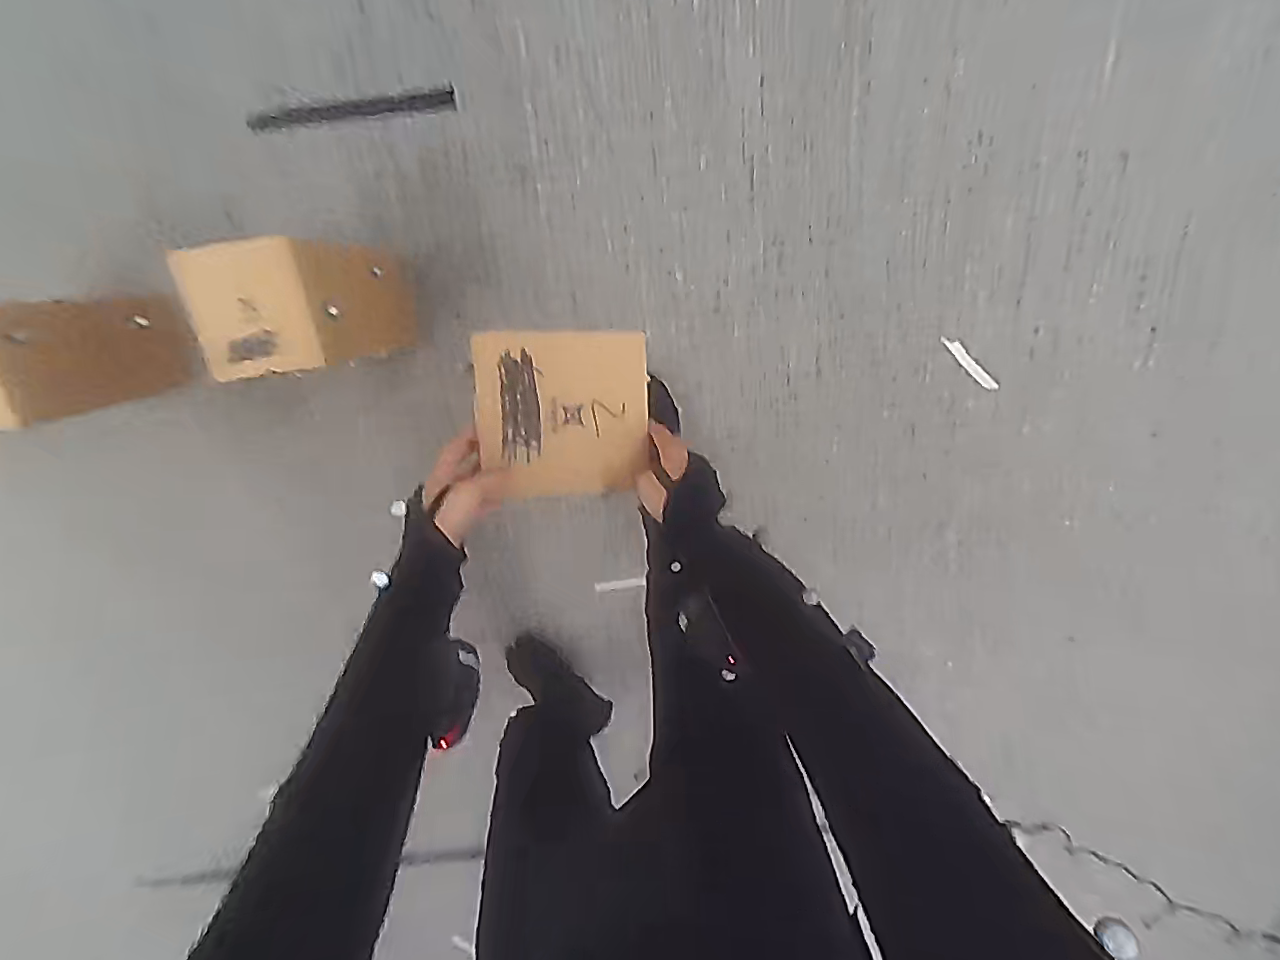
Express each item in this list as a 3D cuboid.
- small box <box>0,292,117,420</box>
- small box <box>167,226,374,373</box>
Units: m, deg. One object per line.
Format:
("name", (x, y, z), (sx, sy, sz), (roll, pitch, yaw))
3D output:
("small box", (-0.979, -0.193, 0.828), (0.168, 0.176, 0.179), (-3, 111, 1))
("small box", (-0.531, -0.269, 0.810), (0.168, 0.176, 0.179), (-7, 109, 2))
